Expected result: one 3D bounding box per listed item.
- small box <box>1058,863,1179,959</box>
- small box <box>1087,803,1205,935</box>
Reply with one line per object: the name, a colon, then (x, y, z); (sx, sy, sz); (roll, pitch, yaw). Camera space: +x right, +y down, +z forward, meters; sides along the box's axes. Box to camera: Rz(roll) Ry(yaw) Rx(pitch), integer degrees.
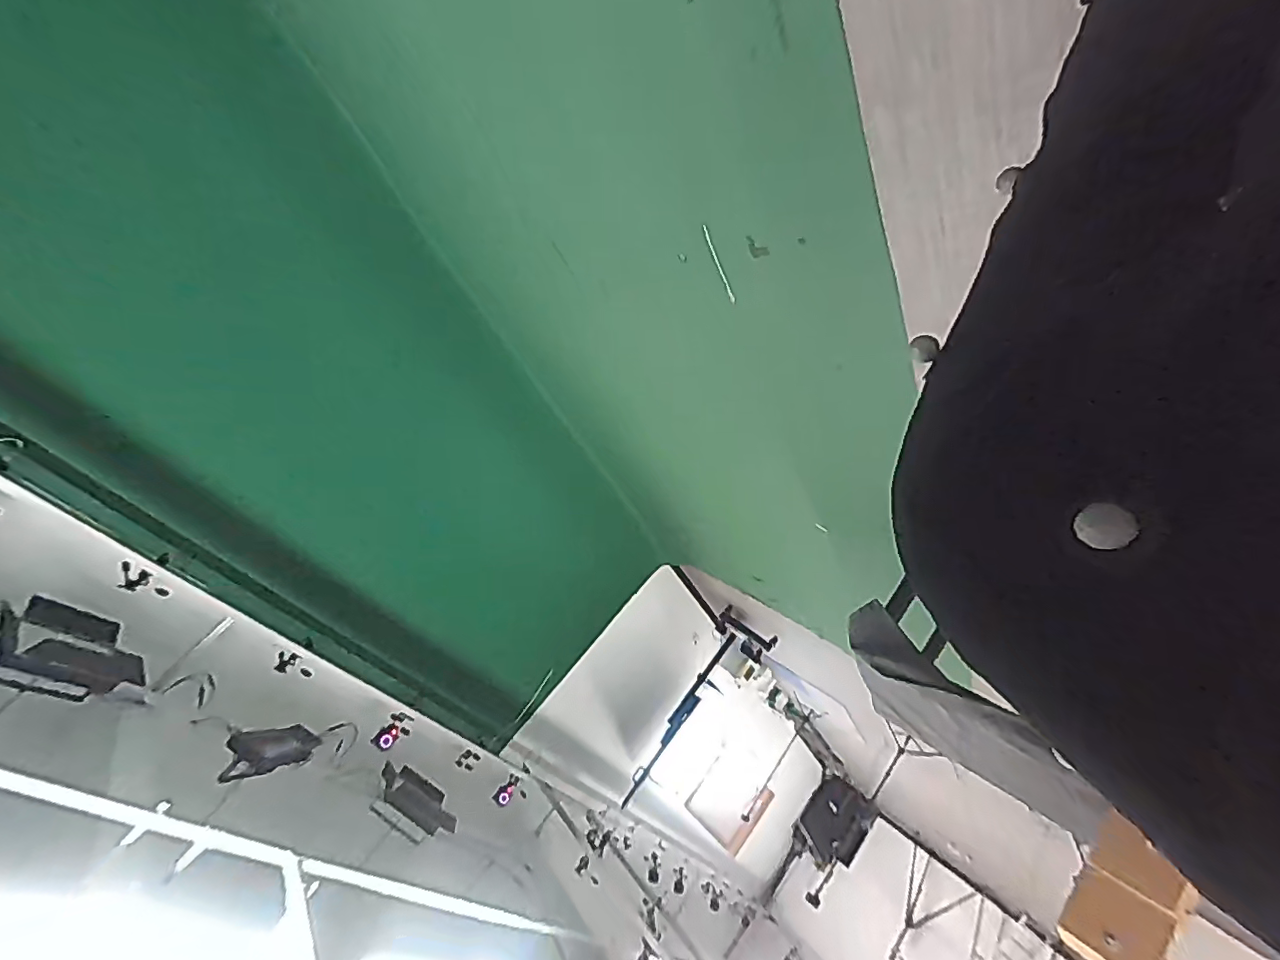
small box: (1.132, 1.061, 1.277); (0.179, 0.176, 0.168); (19, 151, 54)
small box: (1.231, 0.937, 1.313); (0.179, 0.176, 0.168); (52, 160, -28)
